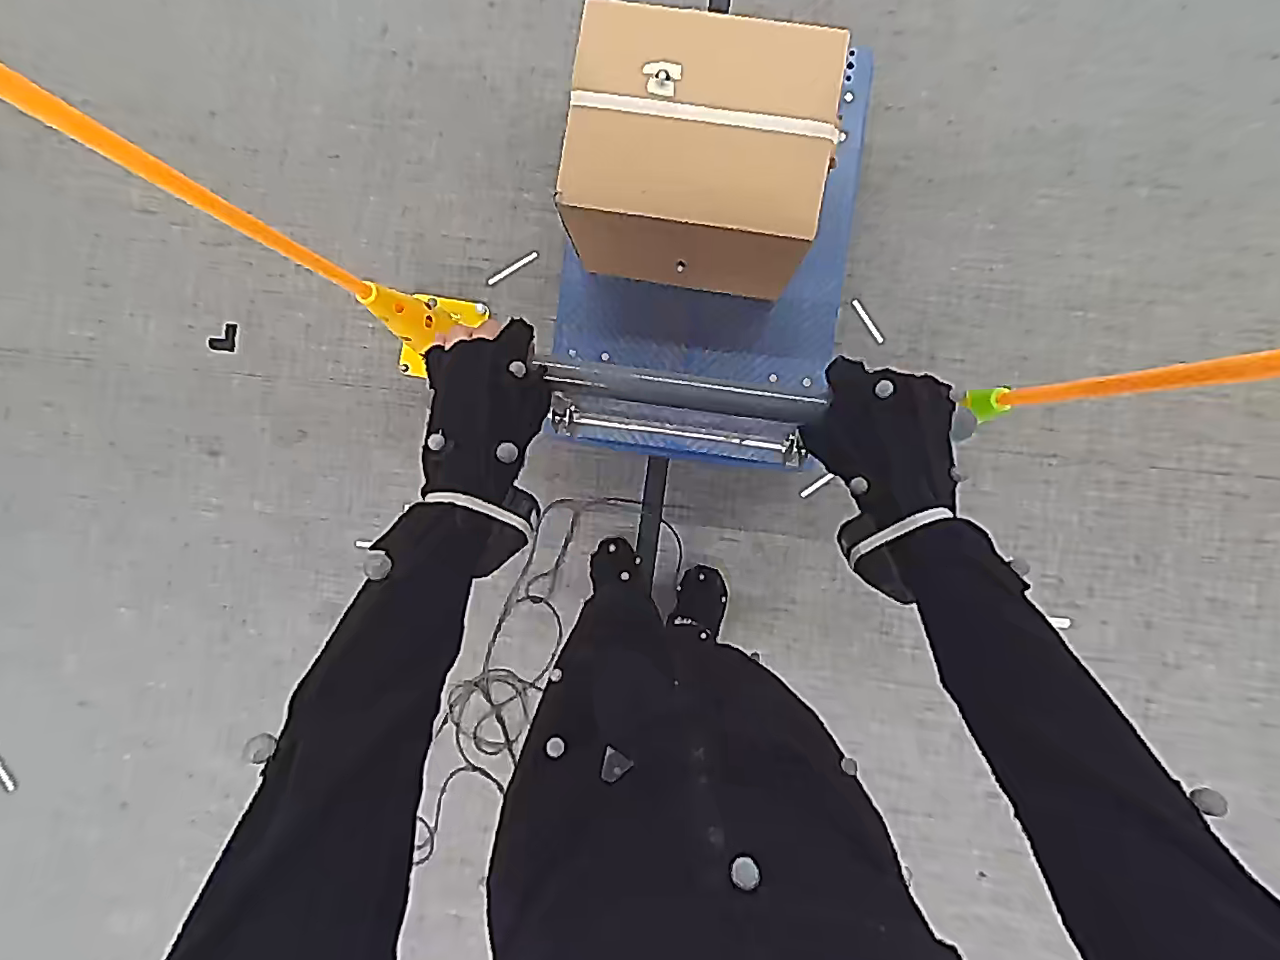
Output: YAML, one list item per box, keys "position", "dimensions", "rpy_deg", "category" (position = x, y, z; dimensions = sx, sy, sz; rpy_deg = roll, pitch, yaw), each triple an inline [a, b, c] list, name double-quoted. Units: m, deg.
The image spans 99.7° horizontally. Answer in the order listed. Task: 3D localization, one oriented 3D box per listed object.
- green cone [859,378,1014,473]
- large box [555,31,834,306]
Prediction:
- position: [0.623, -0.126, 1.103]
  dimensions: [0.202, 0.368, 0.200]
  rpy_deg: [10, 91, 2]
  category: "green cone"
- position: [0.093, -0.531, 0.988]
  dimensions: [0.408, 0.320, 0.320]
  rpy_deg: [9, 92, 4]
  category: "large box"
